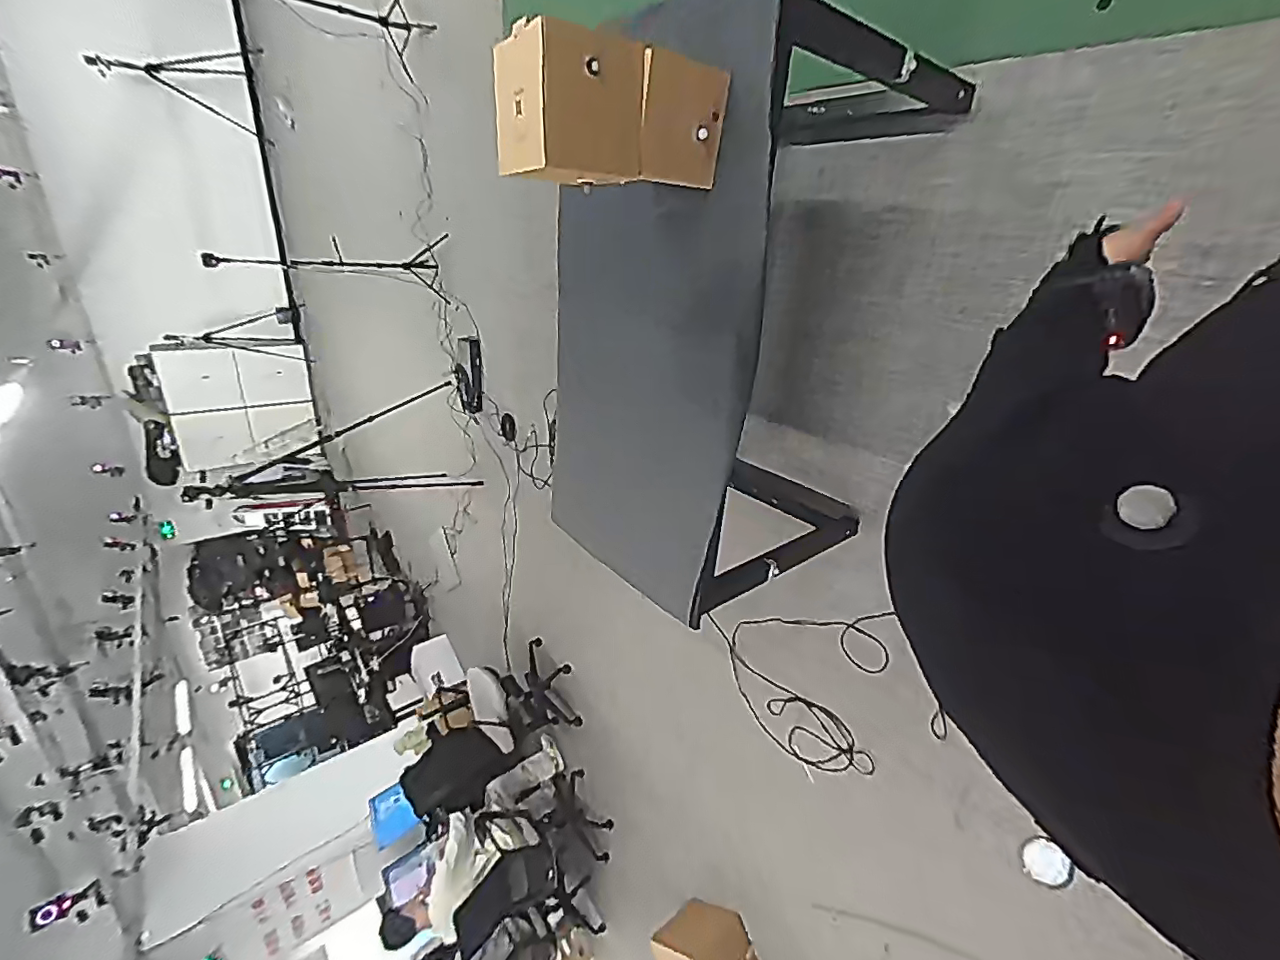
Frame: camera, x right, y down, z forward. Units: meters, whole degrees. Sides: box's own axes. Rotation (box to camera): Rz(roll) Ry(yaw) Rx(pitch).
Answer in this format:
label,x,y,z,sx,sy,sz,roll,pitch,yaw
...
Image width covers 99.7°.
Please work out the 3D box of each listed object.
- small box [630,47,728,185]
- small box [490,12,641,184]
label,x,y,z,sx,sy,sz,roll,pitch,yaw
small box,0.019,-0.604,0.911,0.179,0.176,0.168,37,130,41
small box,-0.111,-0.560,0.823,0.168,0.176,0.179,30,127,47
